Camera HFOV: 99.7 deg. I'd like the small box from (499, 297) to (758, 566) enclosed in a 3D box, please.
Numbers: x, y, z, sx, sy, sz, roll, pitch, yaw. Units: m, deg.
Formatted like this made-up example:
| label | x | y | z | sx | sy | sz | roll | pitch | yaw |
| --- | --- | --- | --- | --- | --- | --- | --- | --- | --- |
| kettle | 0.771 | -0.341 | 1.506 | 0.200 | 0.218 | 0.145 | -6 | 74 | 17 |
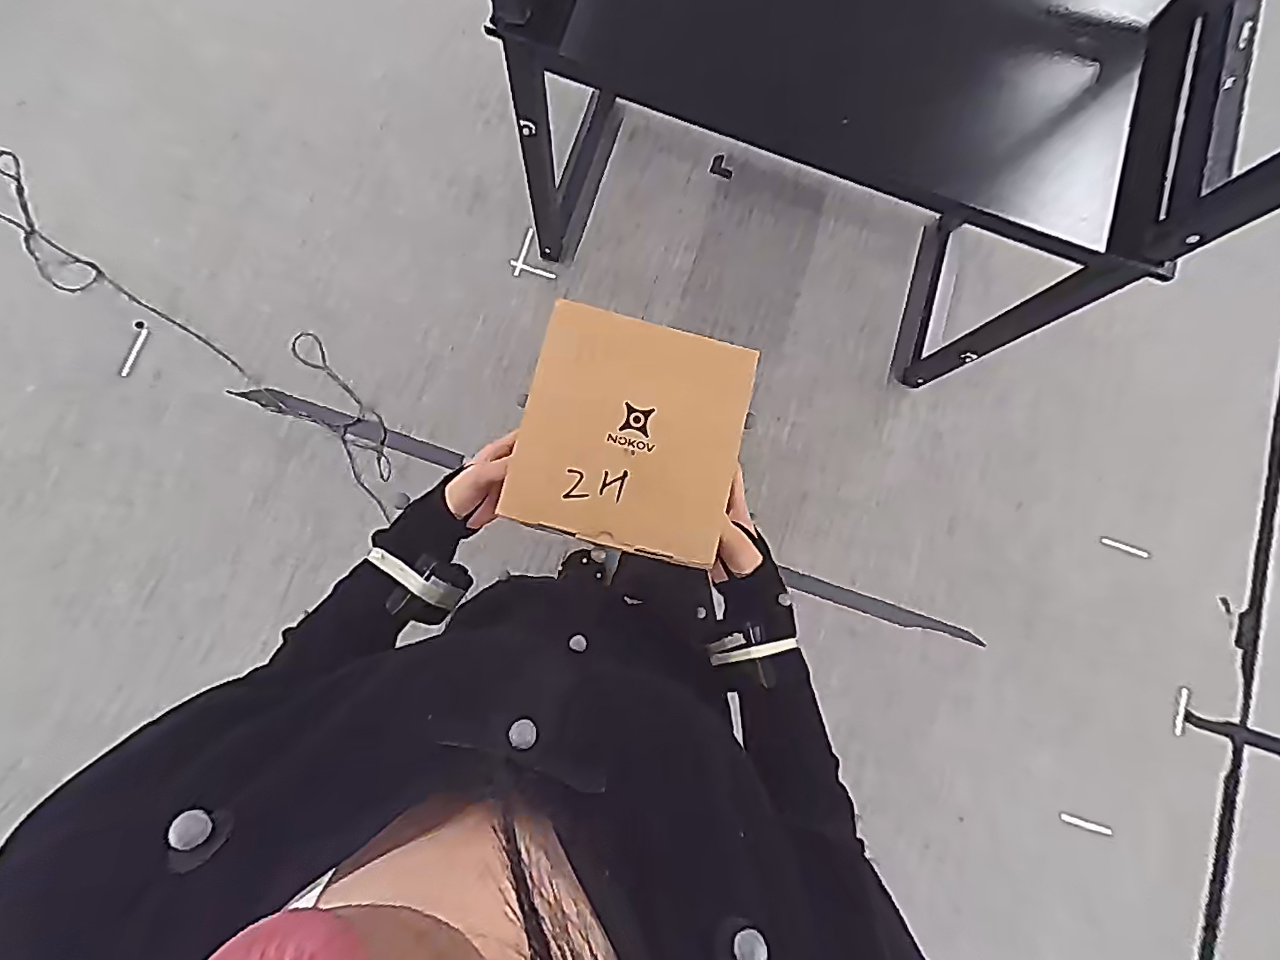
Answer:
| label | x | y | z | sx | sy | sz | roll | pitch | yaw |
| --- | --- | --- | --- | --- | --- | --- | --- | --- | --- |
| small box | -0.012 | -0.029 | 0.486 | 0.168 | 0.176 | 0.179 | 14 | 82 | -3 |
